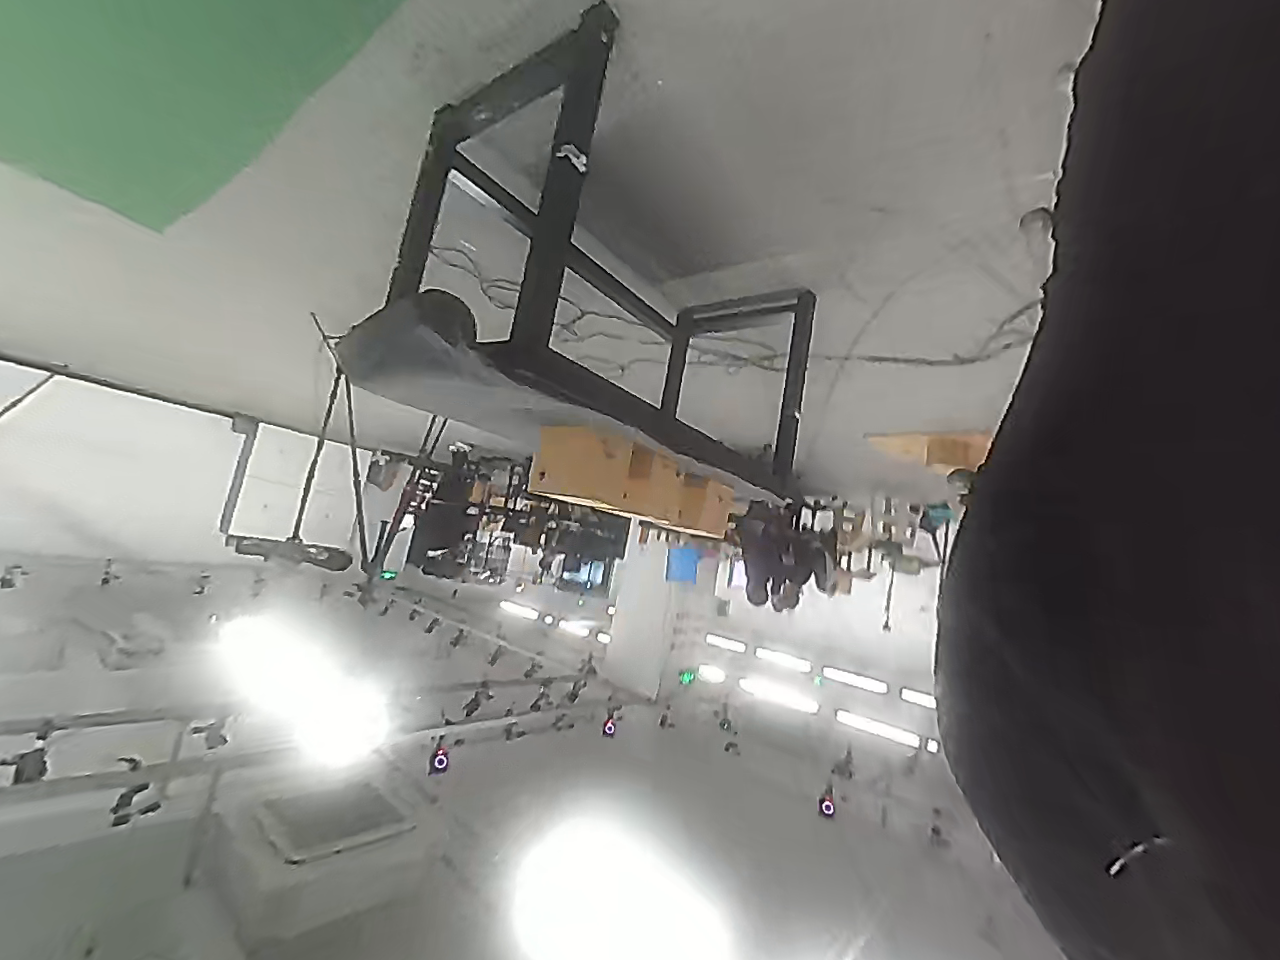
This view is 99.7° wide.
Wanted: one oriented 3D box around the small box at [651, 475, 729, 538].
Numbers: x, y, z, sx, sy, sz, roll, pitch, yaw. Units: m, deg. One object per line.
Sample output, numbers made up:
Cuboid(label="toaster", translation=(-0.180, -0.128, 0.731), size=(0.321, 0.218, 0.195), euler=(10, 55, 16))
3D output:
Cuboid(label="small box", translation=(0.165, 0.082, 1.748), size=(0.179, 0.176, 0.168), euler=(5, 170, 39))

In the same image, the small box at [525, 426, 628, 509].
Cuboid(label="small box", translation=(-0.152, -0.033, 1.337), size=(0.179, 0.176, 0.168), euler=(4, 171, 39))

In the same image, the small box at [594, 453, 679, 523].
Cuboid(label="small box", translation=(-0.004, 0.019, 1.523), size=(0.179, 0.176, 0.168), euler=(6, 171, 38))
